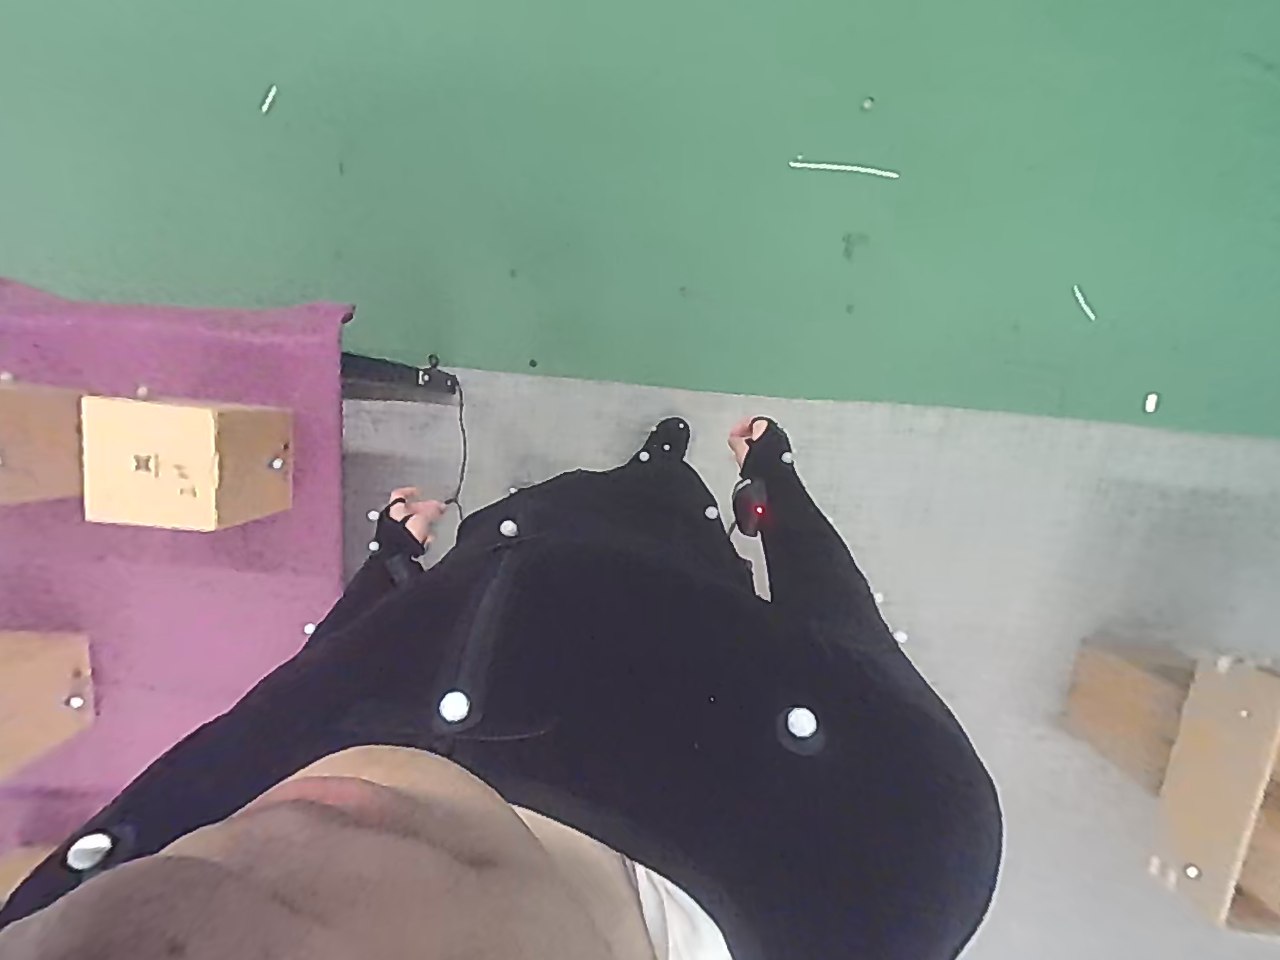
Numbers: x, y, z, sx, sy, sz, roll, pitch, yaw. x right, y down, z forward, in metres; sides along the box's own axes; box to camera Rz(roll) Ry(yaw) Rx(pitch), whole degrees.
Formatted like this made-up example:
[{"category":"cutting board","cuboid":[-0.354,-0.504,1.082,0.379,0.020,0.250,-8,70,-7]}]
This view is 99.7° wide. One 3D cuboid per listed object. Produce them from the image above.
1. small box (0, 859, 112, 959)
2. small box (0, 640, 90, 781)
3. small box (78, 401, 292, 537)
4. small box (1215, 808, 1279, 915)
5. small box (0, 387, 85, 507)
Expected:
[{"category":"small box","cuboid":[-1.001,0.743,0.862,0.179,0.176,0.168,-1,96,-1]},{"category":"small box","cuboid":[-1.009,0.356,0.823,0.179,0.176,0.168,2,97,-2]},{"category":"small box","cuboid":[-0.648,-0.022,0.788,0.179,0.176,0.168,5,97,-2]},{"category":"small box","cuboid":[1.519,0.897,1.251,0.179,0.176,0.168,10,96,-1]},{"category":"small box","cuboid":[-0.965,-0.051,0.780,0.179,0.176,0.168,6,97,-2]}]
